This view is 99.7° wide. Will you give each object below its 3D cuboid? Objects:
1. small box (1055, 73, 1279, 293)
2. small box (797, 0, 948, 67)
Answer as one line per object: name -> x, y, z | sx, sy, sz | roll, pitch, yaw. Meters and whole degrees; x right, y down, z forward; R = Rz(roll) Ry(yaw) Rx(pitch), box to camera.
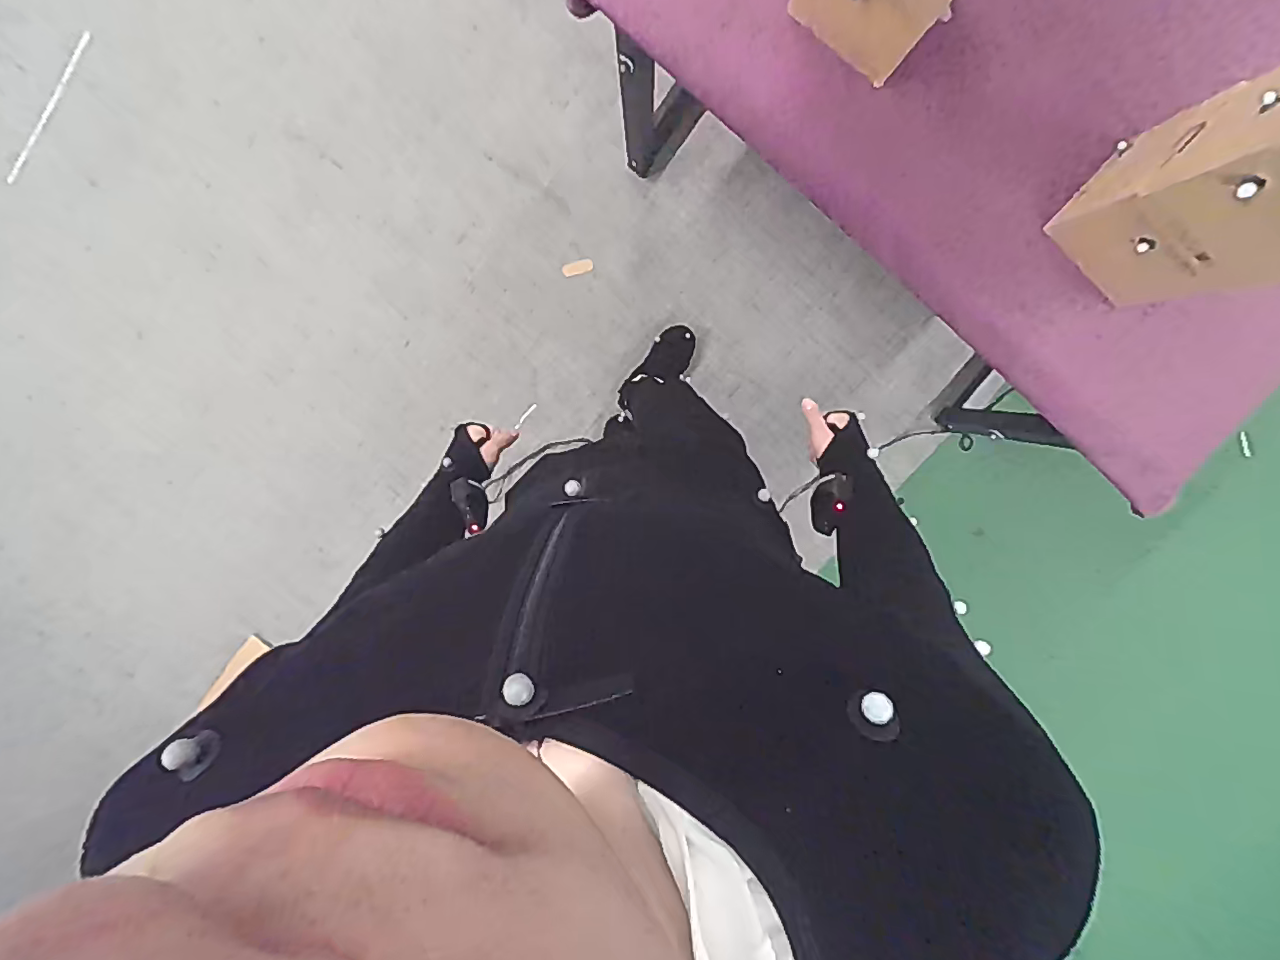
small box -> 0.724, -0.375, 0.727 | 0.179, 0.176, 0.168 | 41, 99, -6
small box -> 0.330, -0.676, 0.683 | 0.179, 0.176, 0.168 | 36, 100, -5
